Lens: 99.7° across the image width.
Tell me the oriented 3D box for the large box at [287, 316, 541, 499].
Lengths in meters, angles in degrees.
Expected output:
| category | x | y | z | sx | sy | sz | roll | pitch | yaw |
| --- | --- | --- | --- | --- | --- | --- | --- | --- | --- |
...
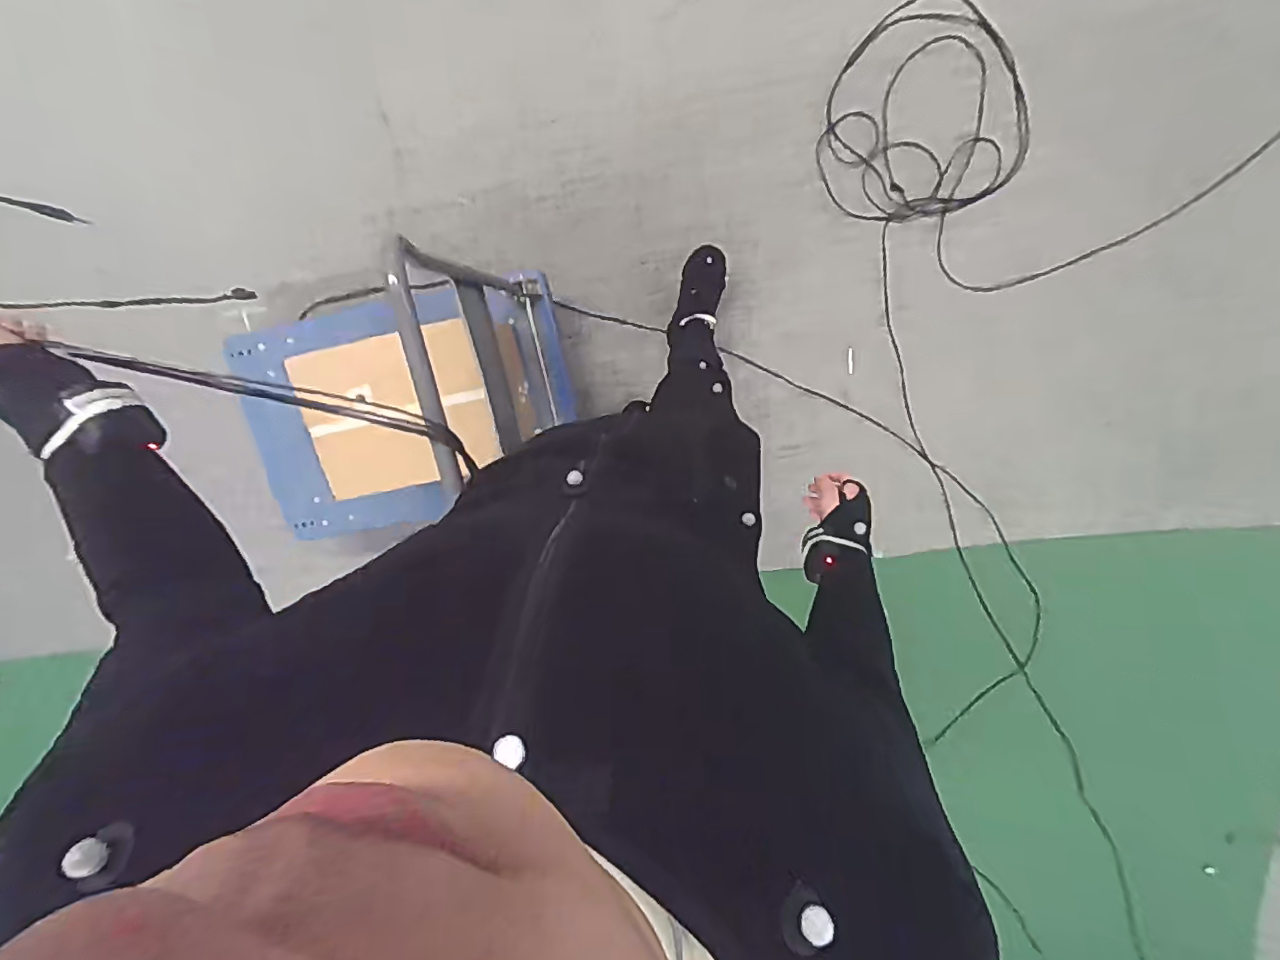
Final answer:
| category | x | y | z | sx | sy | sz | roll | pitch | yaw |
| --- | --- | --- | --- | --- | --- | --- | --- | --- | --- |
| large box | -0.491 | -0.179 | 1.264 | 0.408 | 0.320 | 0.320 | -11 | 103 | 6 |
